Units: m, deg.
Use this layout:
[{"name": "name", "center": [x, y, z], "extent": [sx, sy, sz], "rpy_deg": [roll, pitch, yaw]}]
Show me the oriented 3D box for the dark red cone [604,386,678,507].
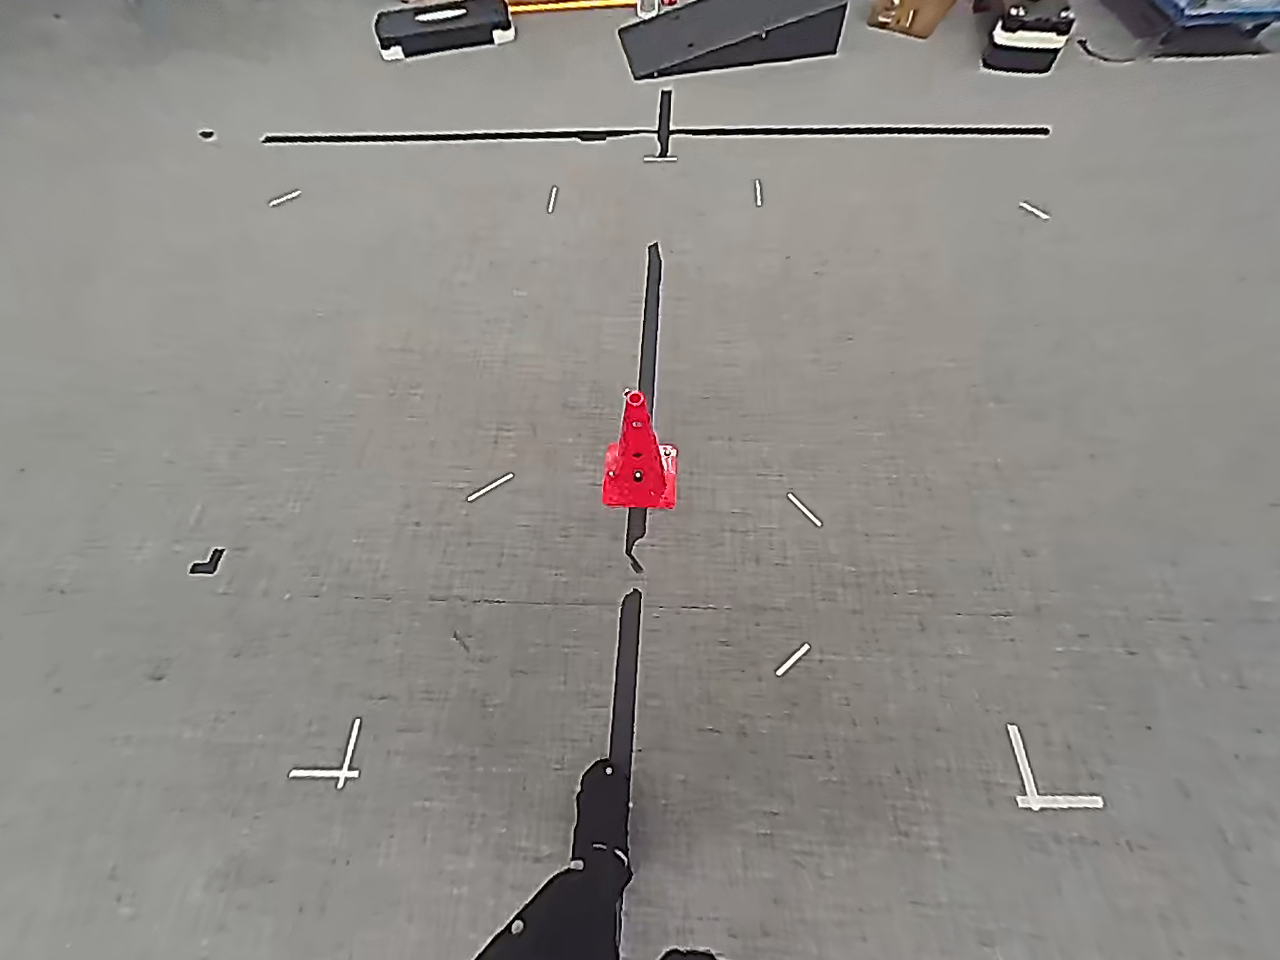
[{"name": "dark red cone", "center": [-0.003, -0.098, 1.332], "extent": [0.201, 0.394, 0.202], "rpy_deg": [1, 62, 4]}]
